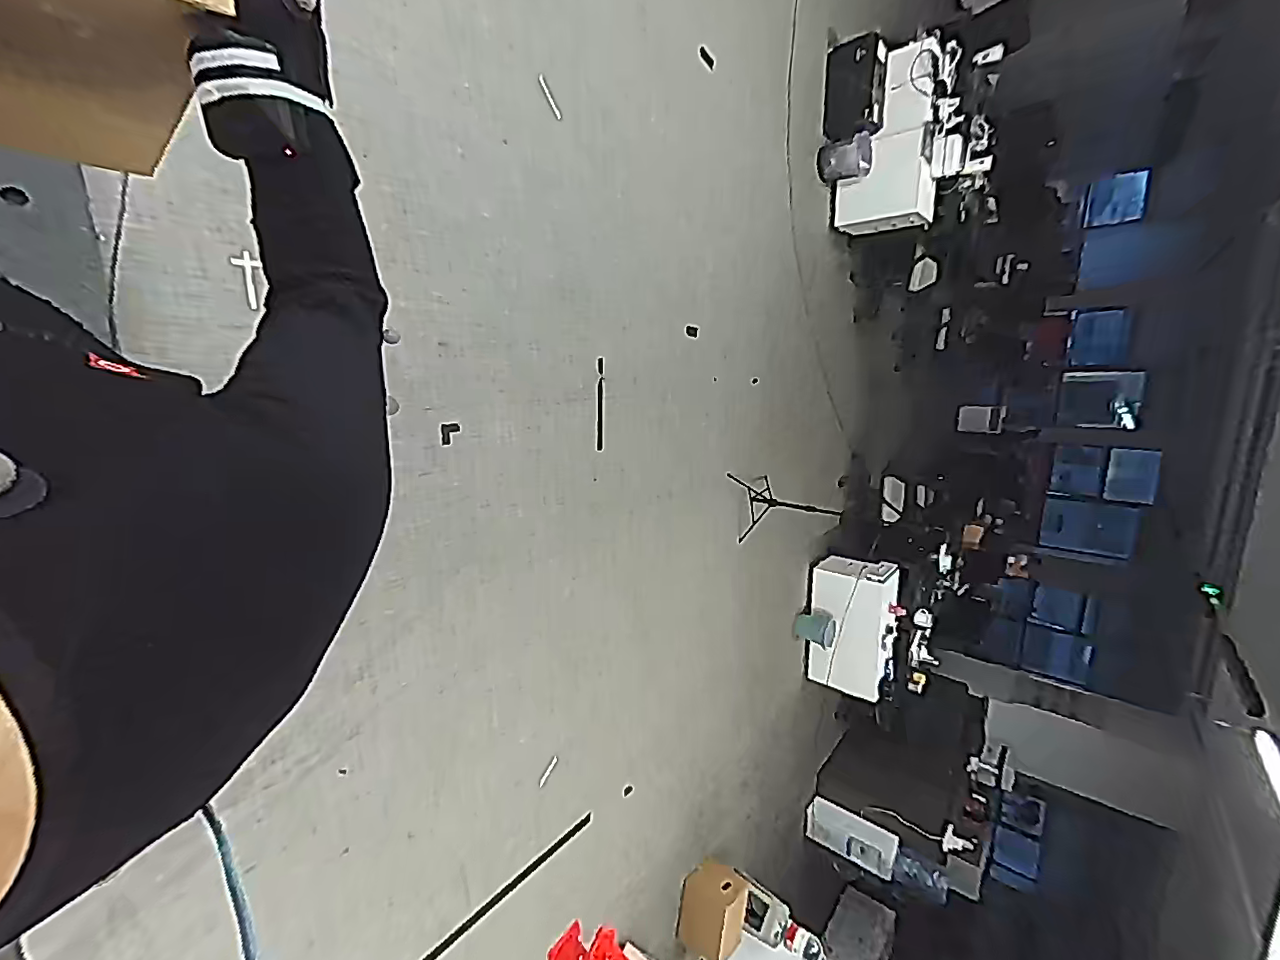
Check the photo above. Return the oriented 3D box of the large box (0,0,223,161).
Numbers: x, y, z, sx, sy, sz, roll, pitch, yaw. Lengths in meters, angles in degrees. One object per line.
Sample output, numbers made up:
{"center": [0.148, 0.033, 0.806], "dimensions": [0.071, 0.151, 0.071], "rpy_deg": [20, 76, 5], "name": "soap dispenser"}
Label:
{"center": [-0.525, -0.423, 0.276], "dimensions": [0.408, 0.320, 0.320], "rpy_deg": [-15, 104, -49], "name": "large box"}
